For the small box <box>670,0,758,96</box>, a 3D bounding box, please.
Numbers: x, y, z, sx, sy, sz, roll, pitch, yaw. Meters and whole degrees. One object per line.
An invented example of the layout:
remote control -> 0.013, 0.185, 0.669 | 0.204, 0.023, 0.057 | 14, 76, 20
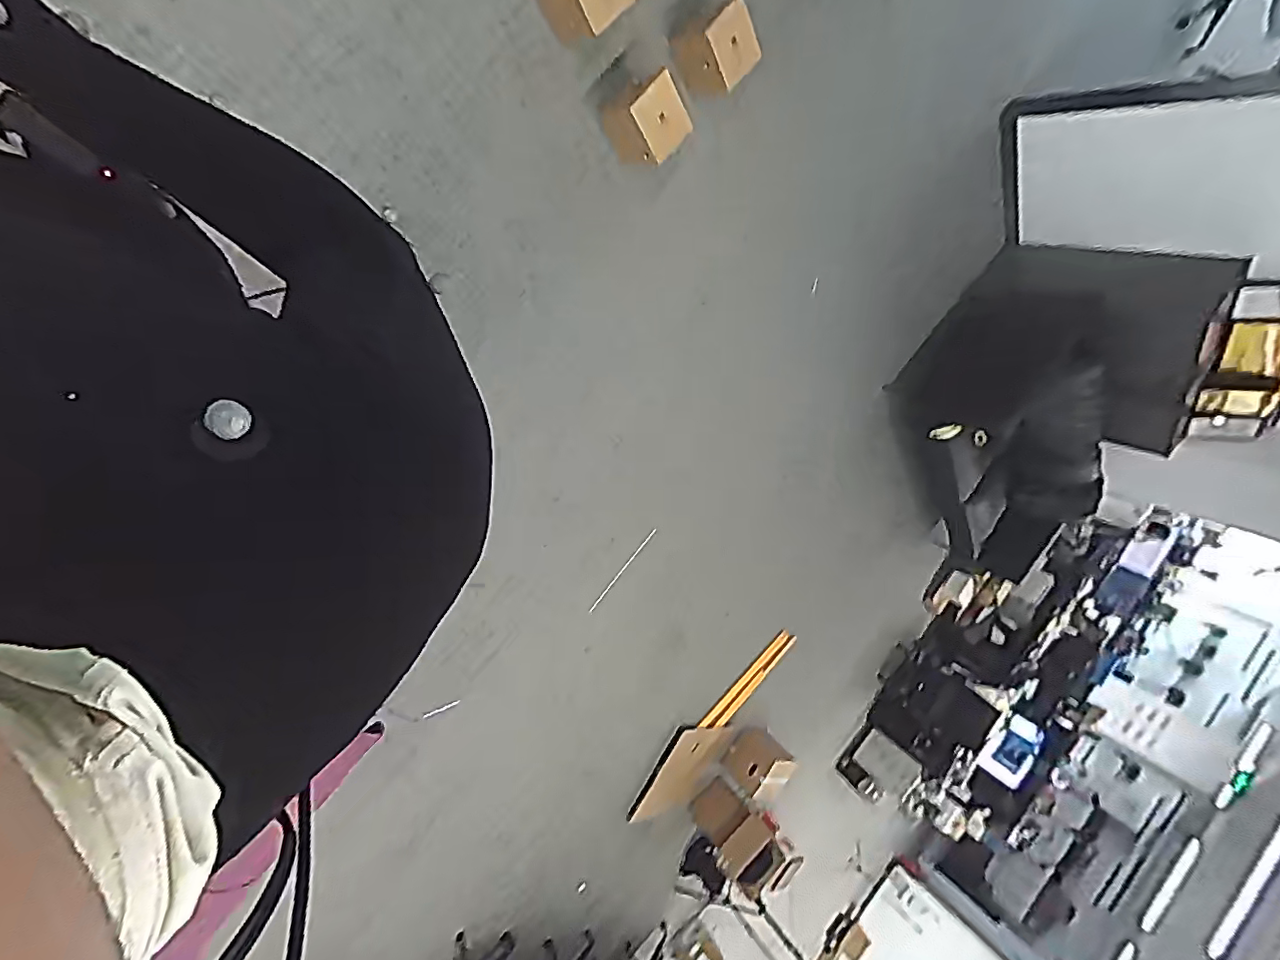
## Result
small box -> 0.221, -1.306, 1.640 | 0.168, 0.176, 0.179 | -50, 135, -6

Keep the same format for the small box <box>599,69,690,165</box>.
small box -> 0.010, -1.062, 1.599 | 0.168, 0.176, 0.179 | -51, 136, -6
